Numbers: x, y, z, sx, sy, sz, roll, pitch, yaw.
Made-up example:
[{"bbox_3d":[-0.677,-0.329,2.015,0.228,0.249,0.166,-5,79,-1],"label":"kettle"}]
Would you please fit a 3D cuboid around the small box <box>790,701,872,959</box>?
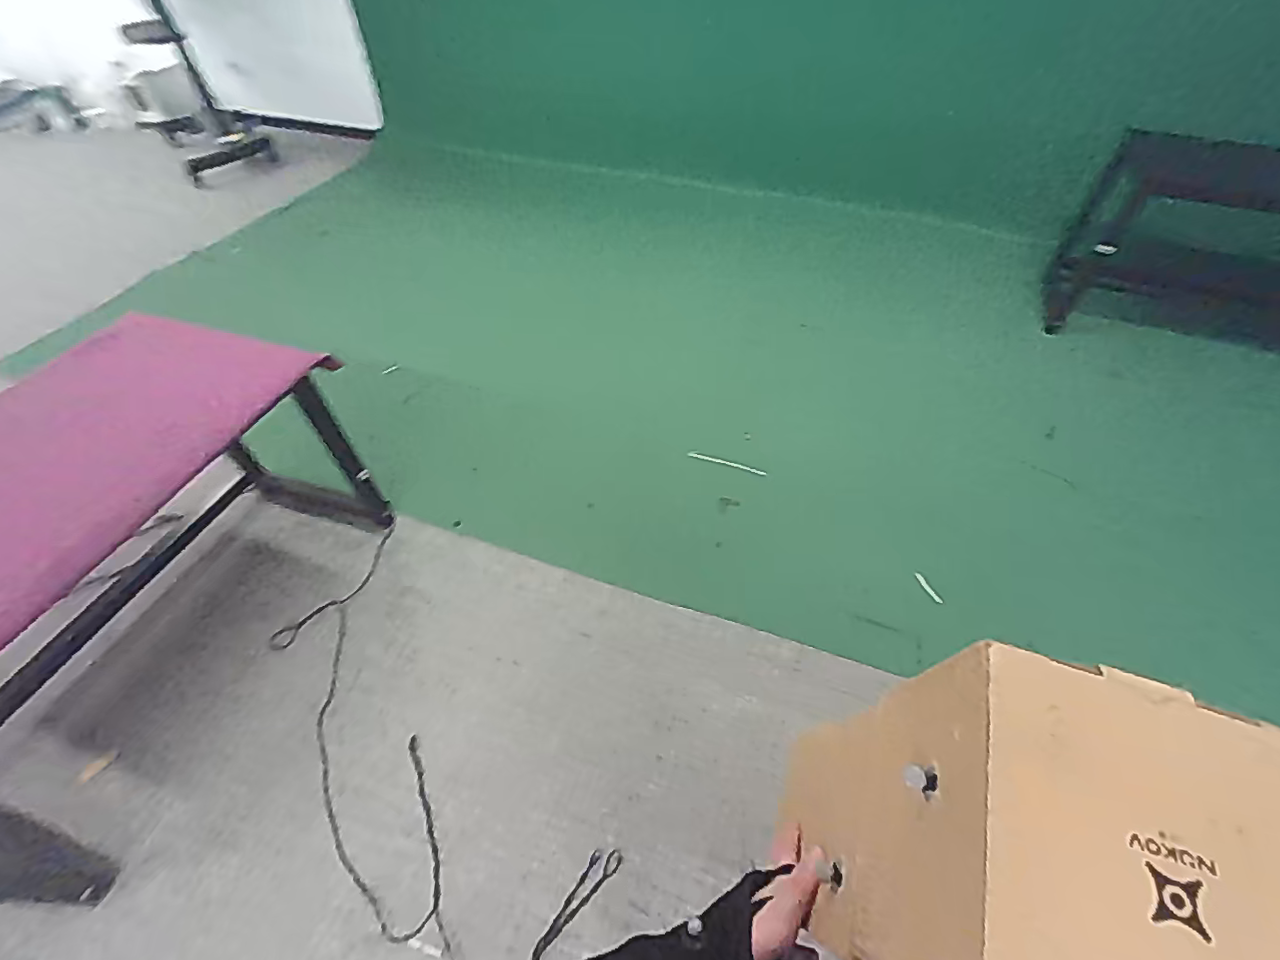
[{"bbox_3d":[0.232,0.310,0.445,0.168,0.176,0.179,16,60,11],"label":"small box"}]
